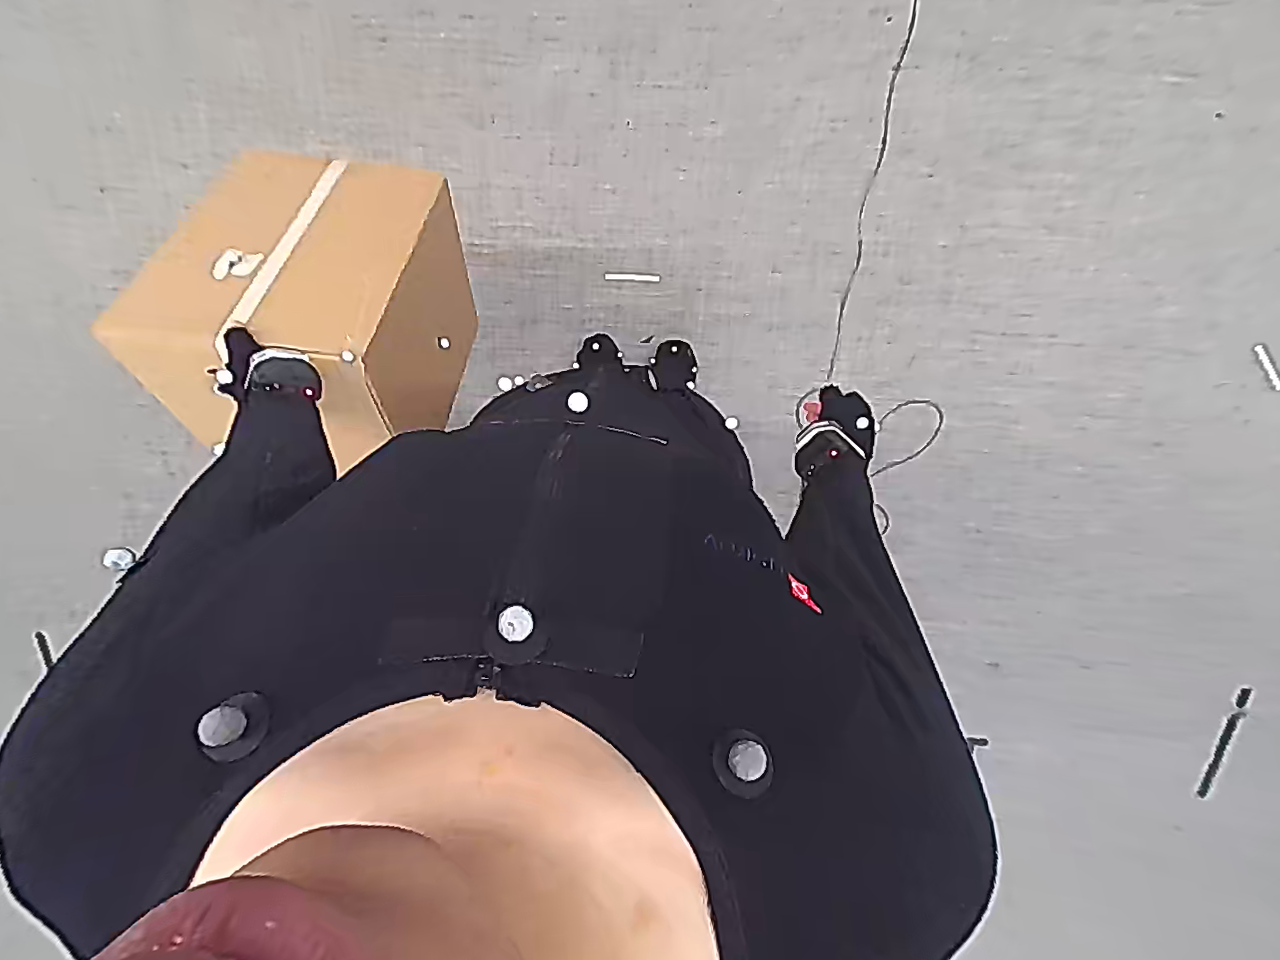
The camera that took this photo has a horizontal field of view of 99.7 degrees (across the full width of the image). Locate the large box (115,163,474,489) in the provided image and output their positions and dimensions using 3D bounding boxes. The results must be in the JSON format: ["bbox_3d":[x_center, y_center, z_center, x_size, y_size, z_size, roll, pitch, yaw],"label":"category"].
[{"bbox_3d":[-0.487,-0.244,0.887,0.320,0.408,0.320,5,148,-1],"label":"large box"}]
